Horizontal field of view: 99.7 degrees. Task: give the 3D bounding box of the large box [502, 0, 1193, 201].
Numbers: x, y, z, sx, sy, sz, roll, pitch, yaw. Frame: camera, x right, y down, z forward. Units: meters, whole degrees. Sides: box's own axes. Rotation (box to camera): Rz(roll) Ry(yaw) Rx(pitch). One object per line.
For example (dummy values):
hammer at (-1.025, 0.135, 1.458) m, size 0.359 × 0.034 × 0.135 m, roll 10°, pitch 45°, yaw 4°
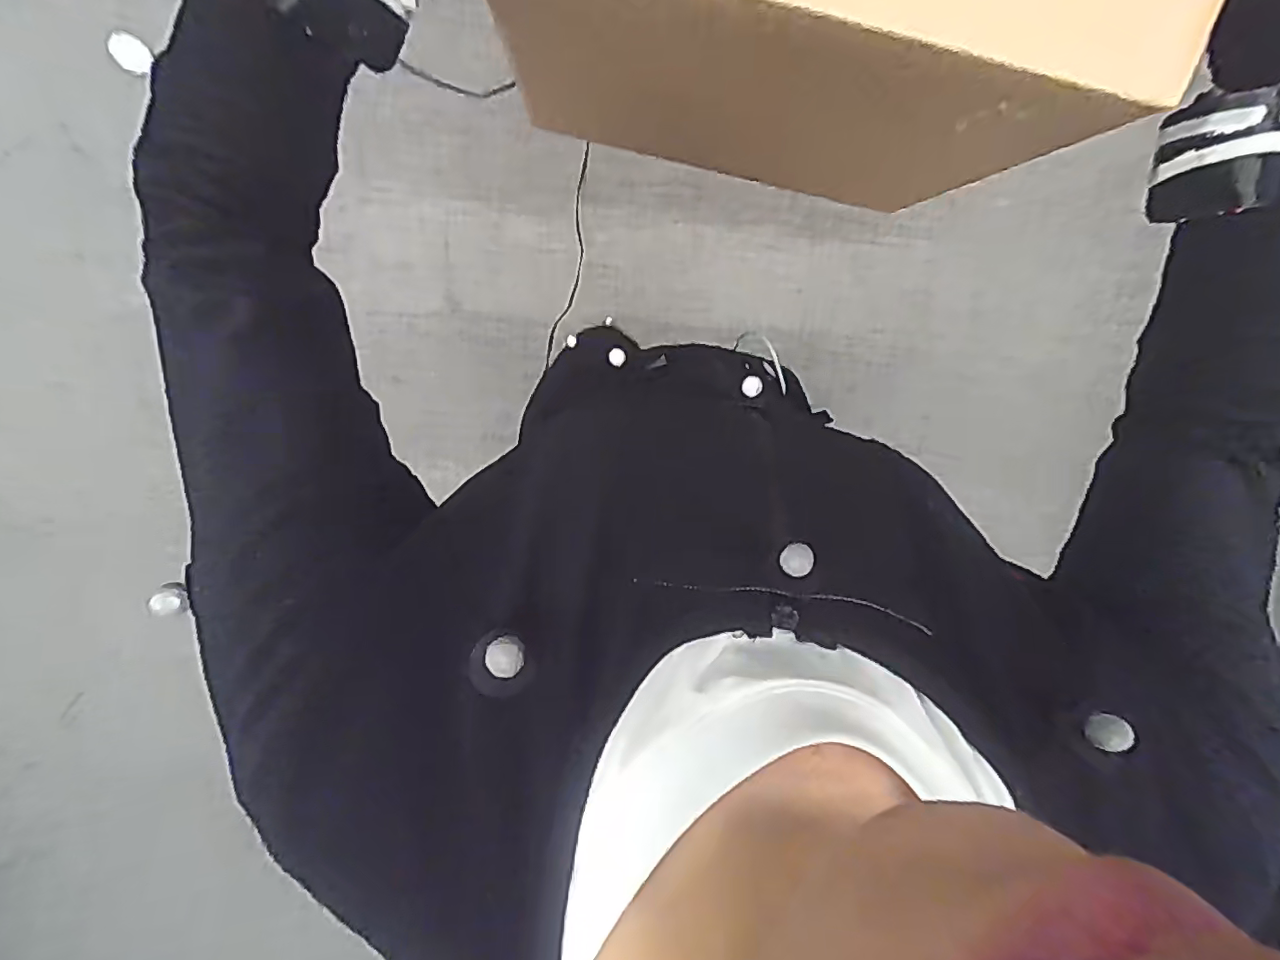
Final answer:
large box at (0.122, -0.438, 0.398) m, size 0.408 × 0.320 × 0.320 m, roll 9°, pitch 106°, yaw -7°
